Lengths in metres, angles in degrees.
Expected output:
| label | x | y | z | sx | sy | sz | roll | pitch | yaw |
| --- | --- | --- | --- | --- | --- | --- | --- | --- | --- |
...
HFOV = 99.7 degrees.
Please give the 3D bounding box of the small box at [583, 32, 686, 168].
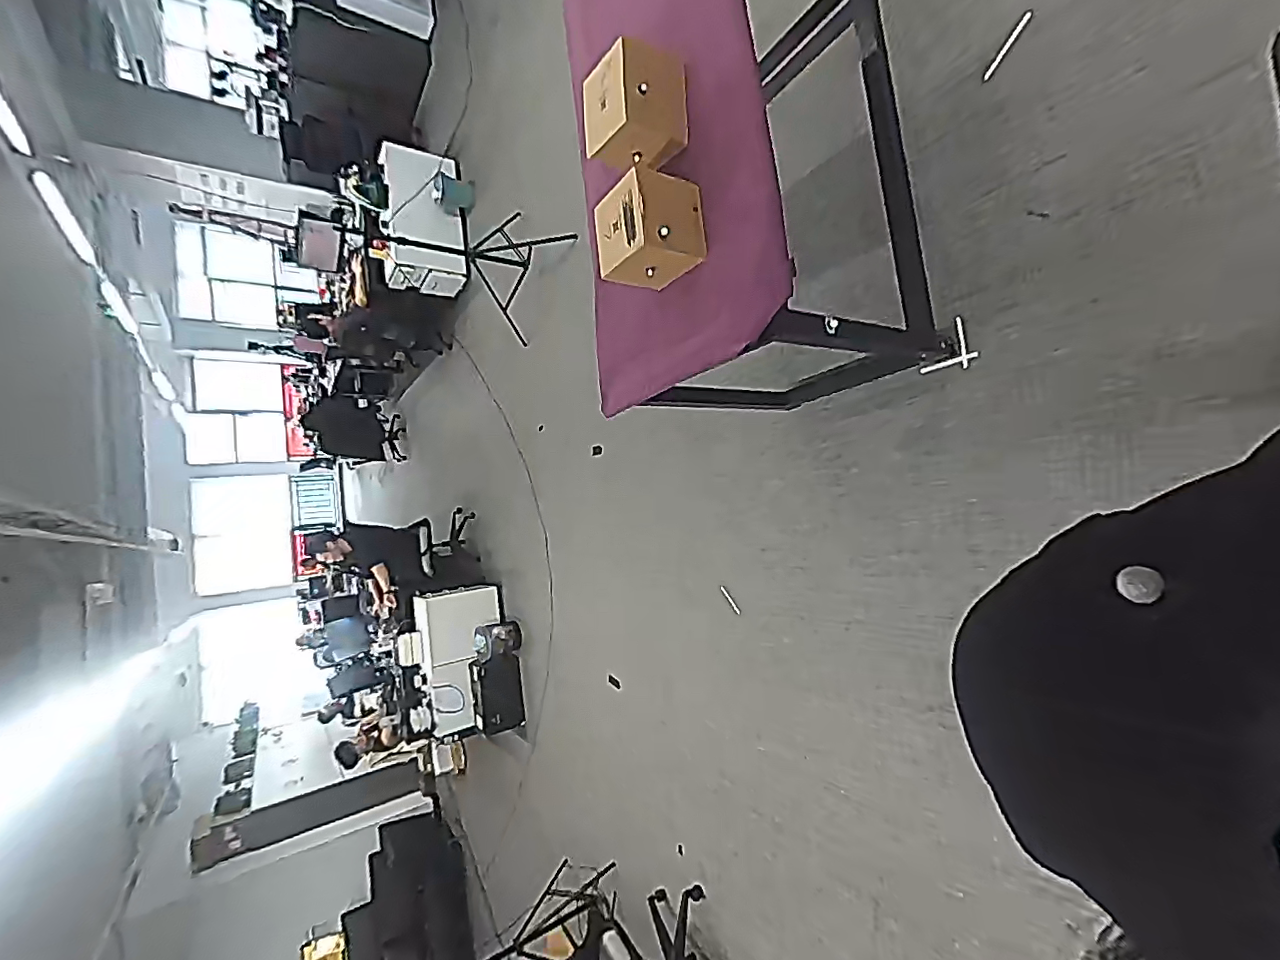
| label | x | y | z | sx | sy | sz | roll | pitch | yaw |
| --- | --- | --- | --- | --- | --- | --- | --- | --- | --- |
| small box | -0.011 | -0.821 | 1.197 | 0.168 | 0.176 | 0.179 | 1 | 94 | 55 |
